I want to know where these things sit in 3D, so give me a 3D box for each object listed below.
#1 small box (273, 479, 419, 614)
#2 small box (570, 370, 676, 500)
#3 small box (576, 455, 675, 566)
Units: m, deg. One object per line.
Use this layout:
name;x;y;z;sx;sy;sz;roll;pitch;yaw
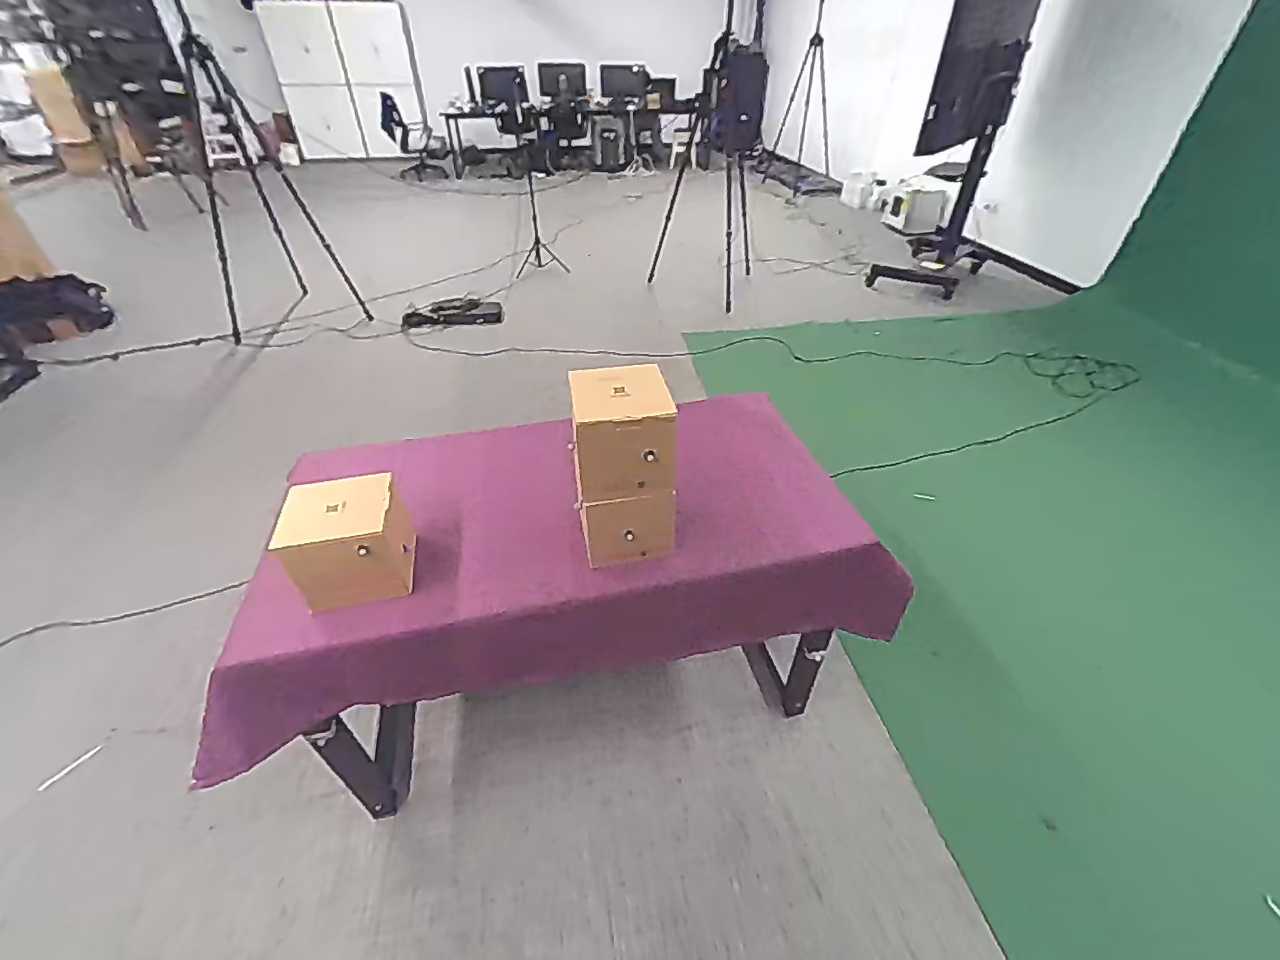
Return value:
small box;-0.523;0.123;0.990;0.179;0.176;0.168;-9;39;-12
small box;-0.032;-0.076;0.966;0.168;0.176;0.179;-6;39;-7
small box;-0.030;0.054;1.065;0.168;0.176;0.179;-7;39;-9
